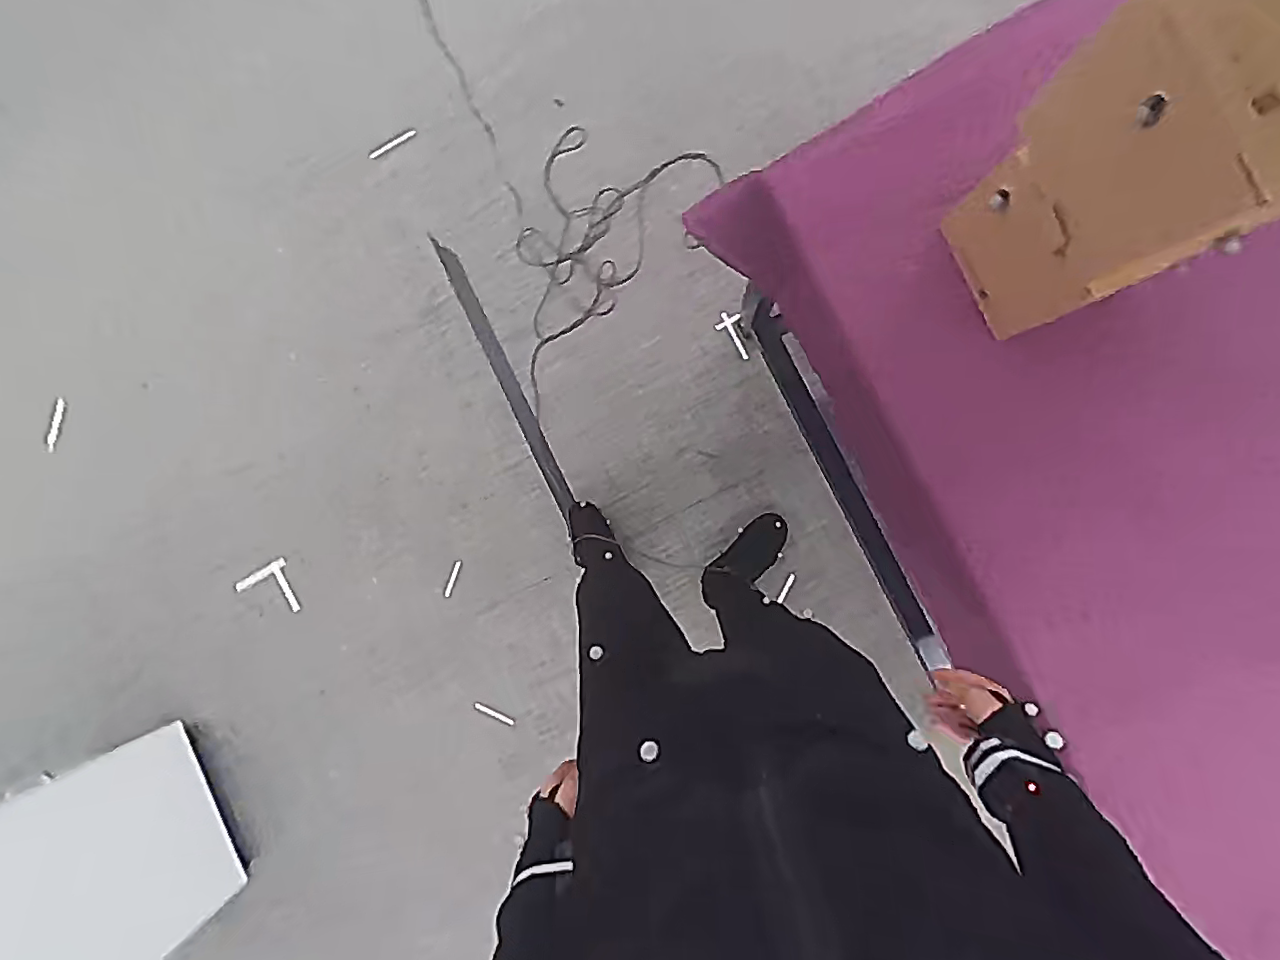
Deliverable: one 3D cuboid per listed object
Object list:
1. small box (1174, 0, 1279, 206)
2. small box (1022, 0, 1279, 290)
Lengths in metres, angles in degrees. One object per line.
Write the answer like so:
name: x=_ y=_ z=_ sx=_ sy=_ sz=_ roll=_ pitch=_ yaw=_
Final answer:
small box: x=0.436 y=-0.278 z=0.269 sx=0.179 sy=0.176 sz=0.168 roll=-26 pitch=89 yaw=4
small box: x=0.454 y=-0.283 z=0.431 sx=0.168 sy=0.176 sz=0.179 roll=-19 pitch=89 yaw=6
